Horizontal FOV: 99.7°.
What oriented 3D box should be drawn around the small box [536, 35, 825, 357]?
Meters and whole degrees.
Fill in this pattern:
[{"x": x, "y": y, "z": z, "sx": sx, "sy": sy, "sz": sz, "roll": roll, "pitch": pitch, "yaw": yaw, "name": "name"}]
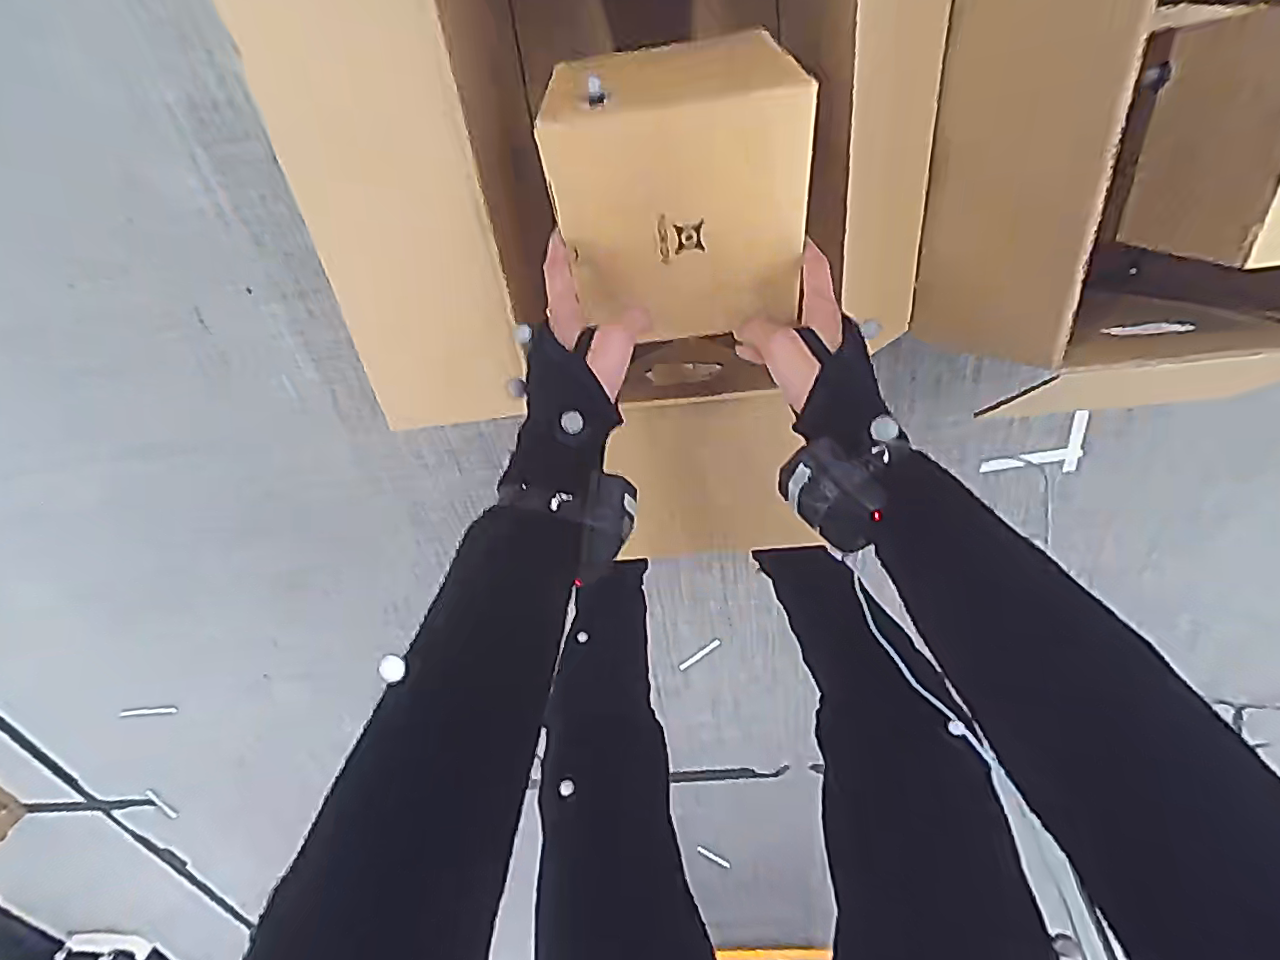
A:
[{"x": 0.030, "y": -0.223, "z": 0.428, "sx": 0.179, "sy": 0.176, "sz": 0.168, "roll": -5, "pitch": 138, "yaw": 6, "name": "small box"}]
